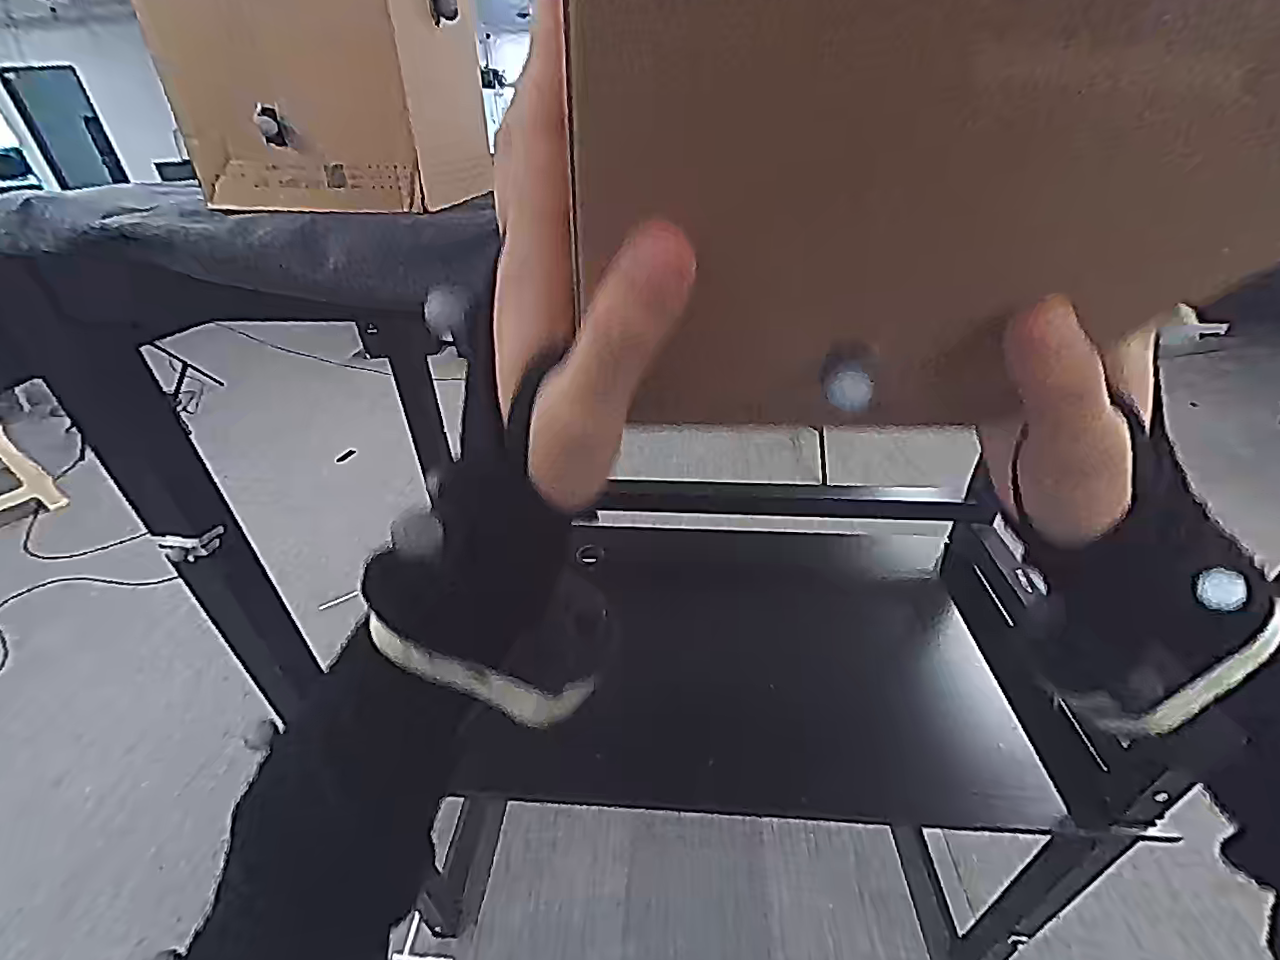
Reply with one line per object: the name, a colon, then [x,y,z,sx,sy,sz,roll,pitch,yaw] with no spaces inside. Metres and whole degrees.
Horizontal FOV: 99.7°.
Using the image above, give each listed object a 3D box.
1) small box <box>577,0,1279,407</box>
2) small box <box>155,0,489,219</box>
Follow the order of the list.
small box: [0.065,-0.139,0.164,0.168,0.176,0.179,0,72,-5]
small box: [-0.225,-0.309,0.419,0.168,0.176,0.179,2,33,3]
